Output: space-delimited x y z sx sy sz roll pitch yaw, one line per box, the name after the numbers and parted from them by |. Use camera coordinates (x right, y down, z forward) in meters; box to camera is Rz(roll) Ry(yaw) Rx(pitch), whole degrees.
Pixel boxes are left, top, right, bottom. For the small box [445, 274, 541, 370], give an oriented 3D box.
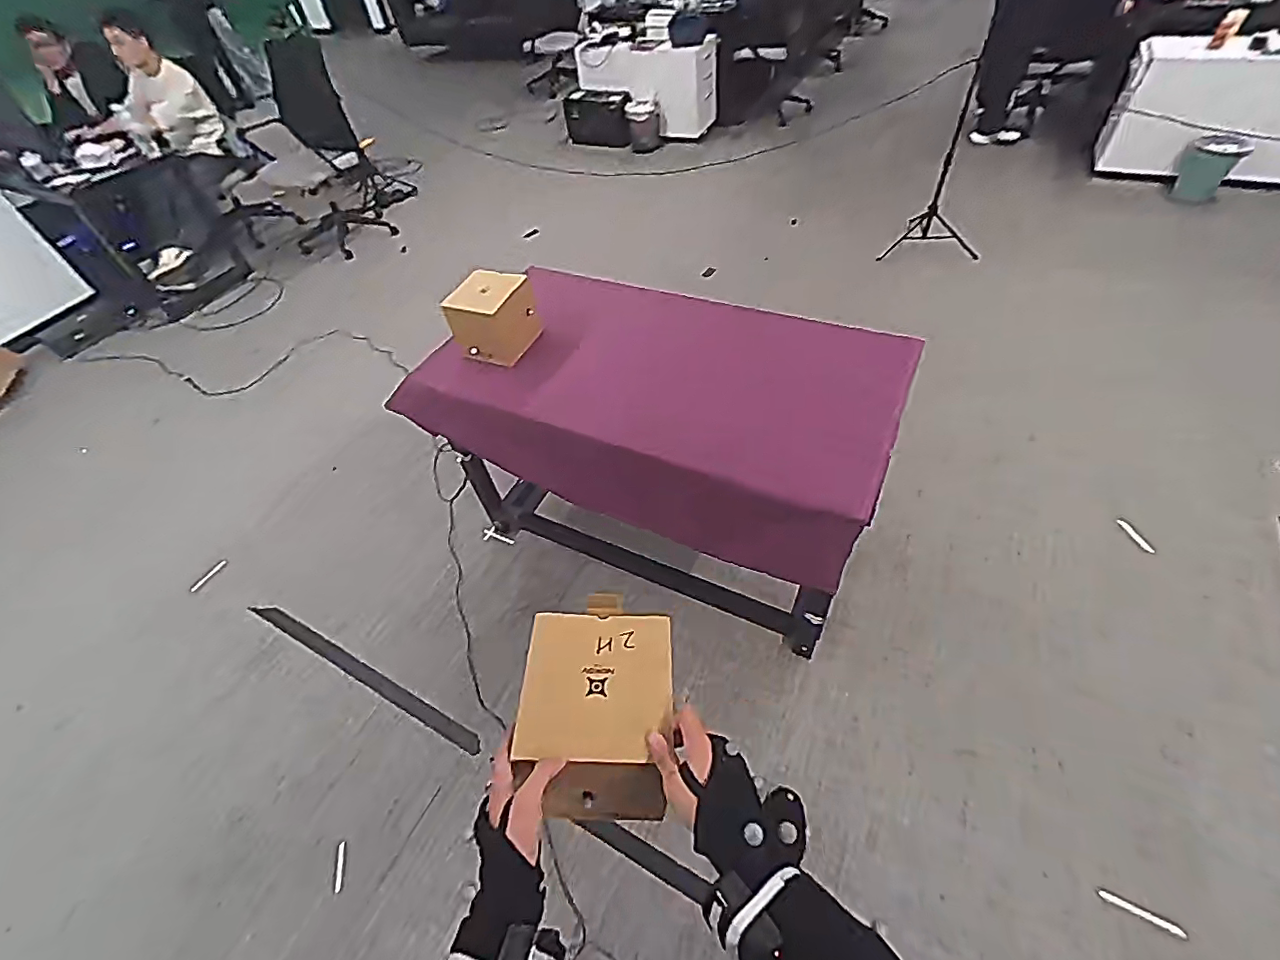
-0.384 -0.425 1.456 0.168 0.176 0.179 15 53 19 | small box

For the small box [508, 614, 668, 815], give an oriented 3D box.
-0.053 0.285 0.657 0.168 0.176 0.179 2 40 -1 | small box
